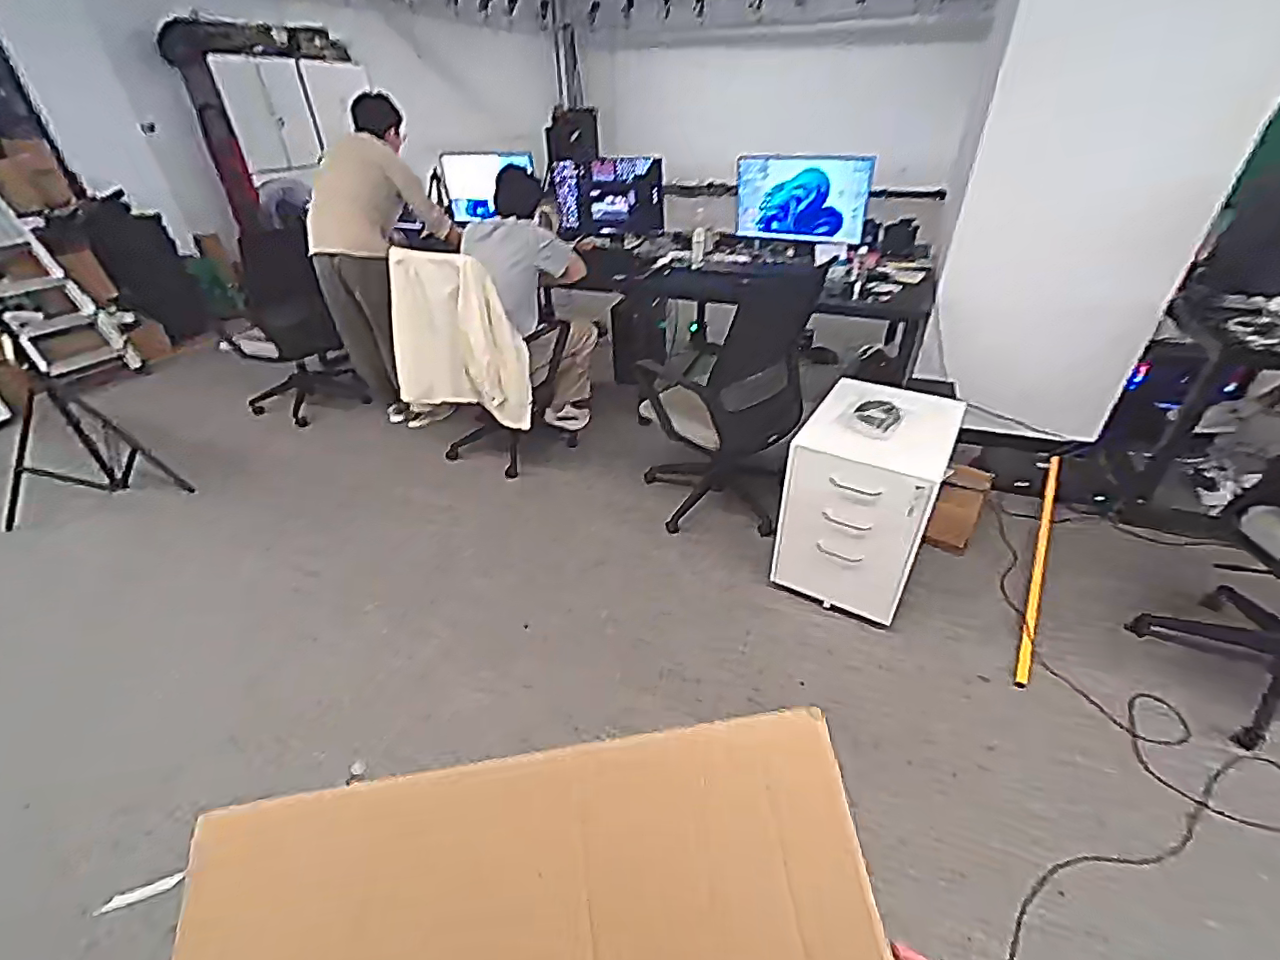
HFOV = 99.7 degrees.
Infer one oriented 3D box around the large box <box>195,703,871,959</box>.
[{"bbox_3d":[-0.055,0.386,0.432,0.408,0.320,0.320,-9,66,-2],"label":"large box"}]
